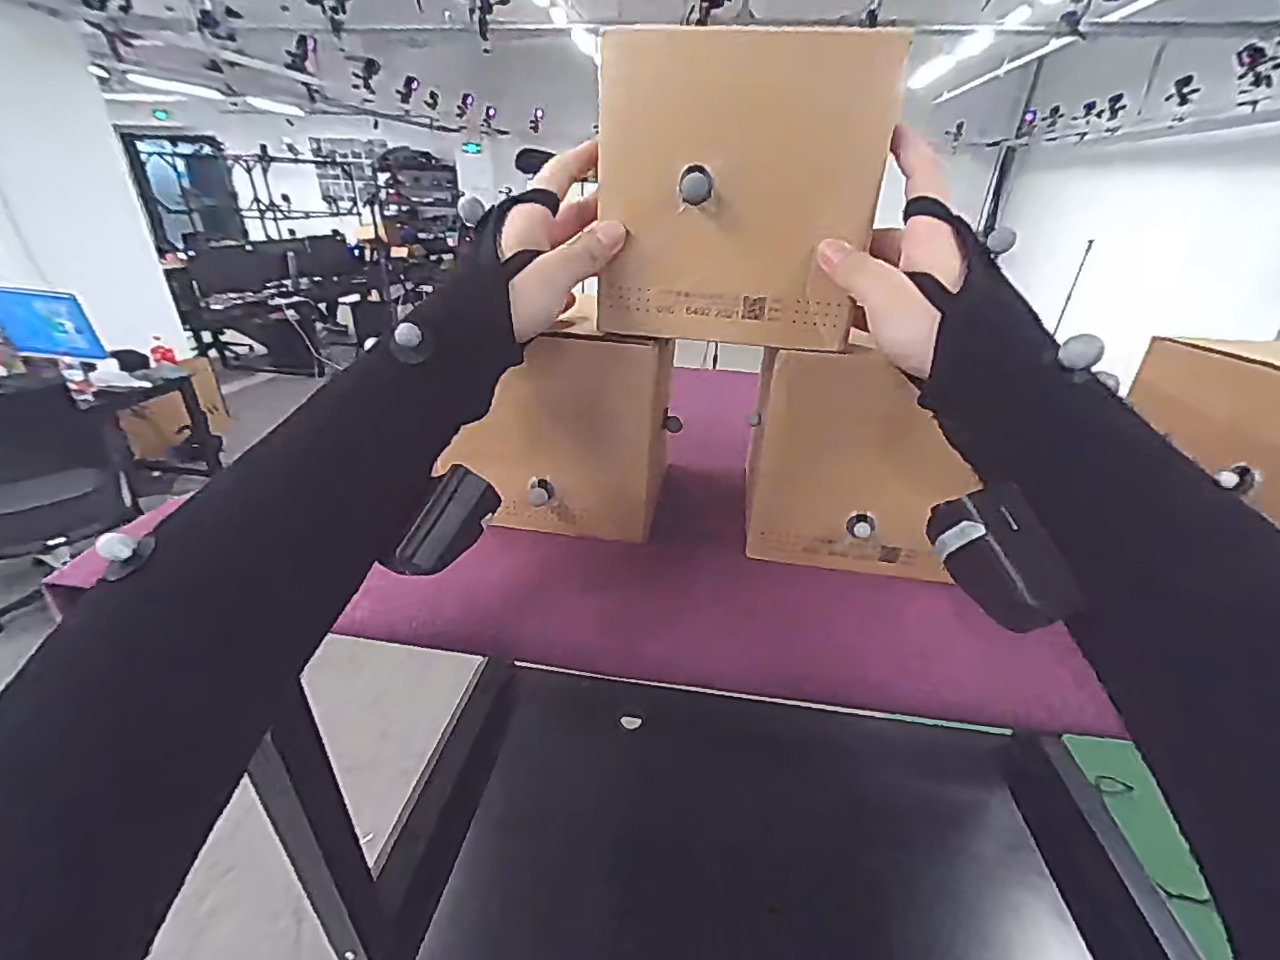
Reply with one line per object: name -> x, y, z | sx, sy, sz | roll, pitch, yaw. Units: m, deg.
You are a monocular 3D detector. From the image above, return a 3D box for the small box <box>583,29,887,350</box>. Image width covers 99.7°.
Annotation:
small box -> 0.063, -0.198, 0.397 | 0.168, 0.176, 0.179 | 6, 27, 9
